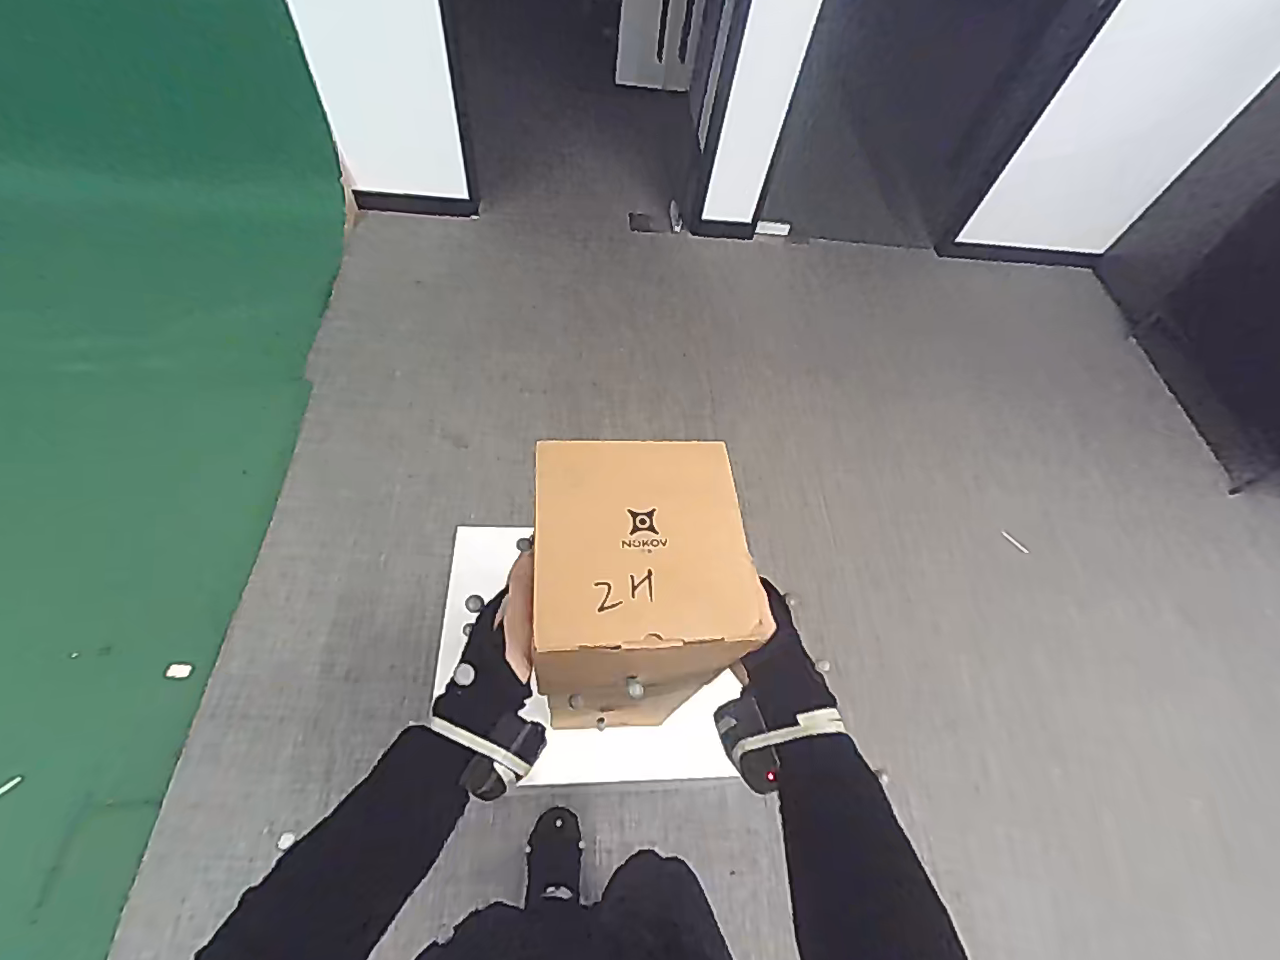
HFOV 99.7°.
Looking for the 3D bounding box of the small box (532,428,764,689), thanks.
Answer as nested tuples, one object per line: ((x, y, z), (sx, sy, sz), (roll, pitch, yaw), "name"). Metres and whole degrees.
((-0.009, 0.074, 0.481), (0.168, 0.176, 0.179), (0, 58, -9), "small box")

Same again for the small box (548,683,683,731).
((-0.042, 0.243, 0.762), (0.168, 0.176, 0.179), (1, 57, -8), "small box")
